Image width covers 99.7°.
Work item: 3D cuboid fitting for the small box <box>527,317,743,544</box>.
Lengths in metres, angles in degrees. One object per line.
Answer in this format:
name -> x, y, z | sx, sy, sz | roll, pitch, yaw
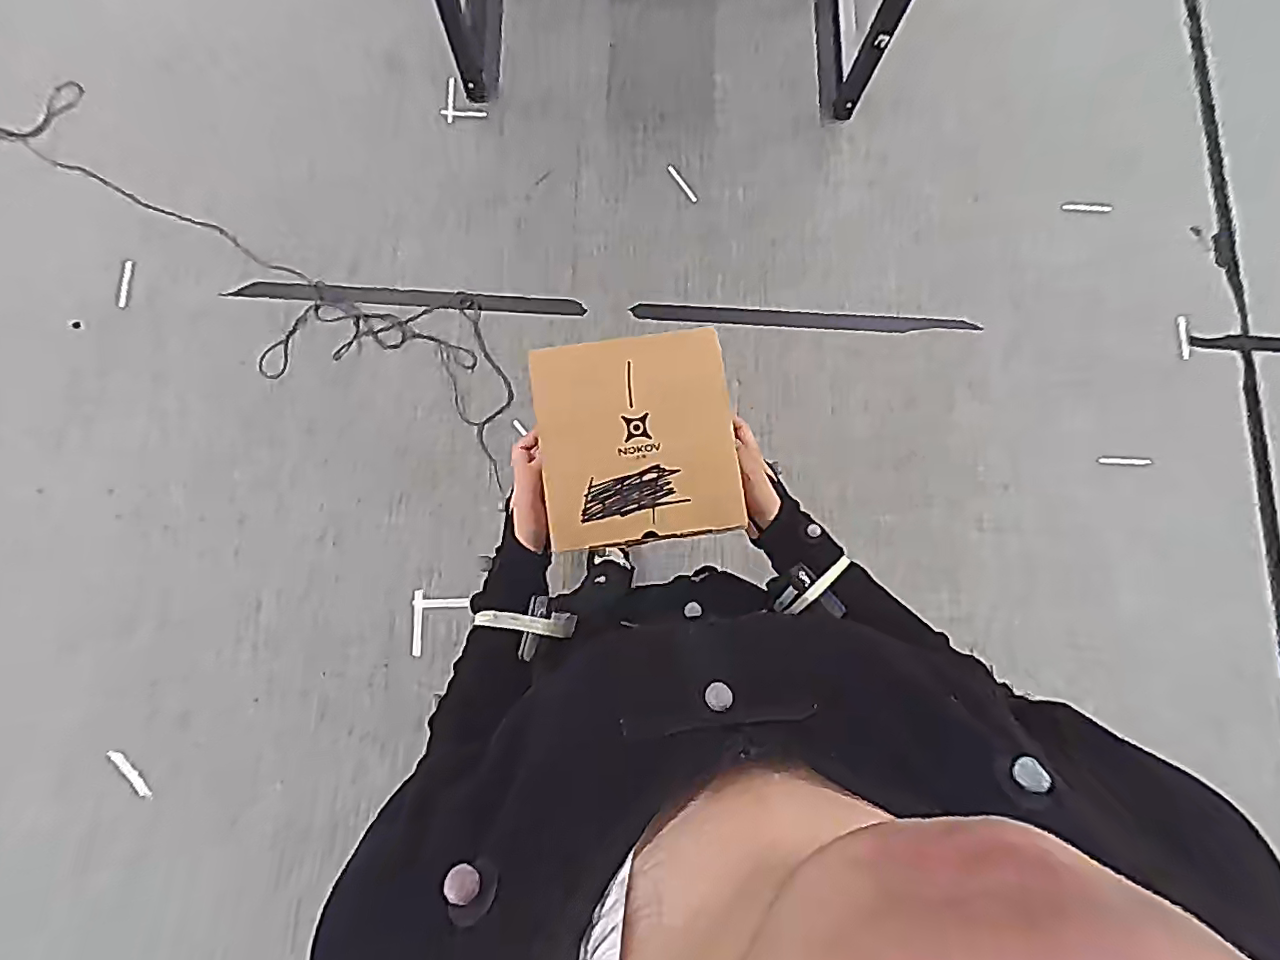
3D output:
small box -> -0.006, -0.038, 0.529 | 0.168, 0.176, 0.179 | -8, 85, -2
